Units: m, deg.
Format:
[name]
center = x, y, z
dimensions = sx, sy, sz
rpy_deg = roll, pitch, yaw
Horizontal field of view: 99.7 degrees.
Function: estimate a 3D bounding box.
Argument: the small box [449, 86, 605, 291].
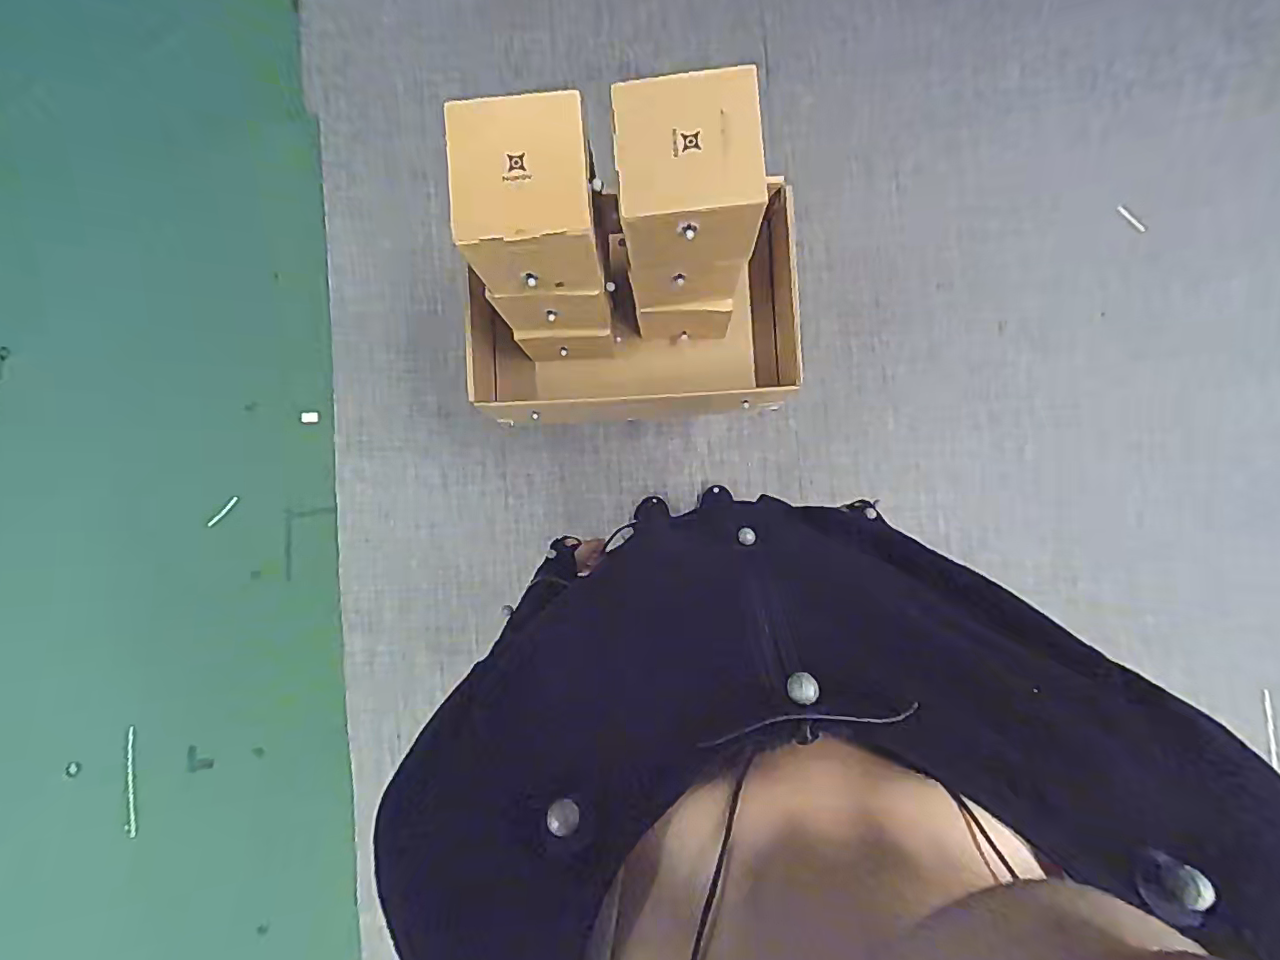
[small box]
center = -0.140, -0.373, 0.719
dimensions = 0.168, 0.176, 0.179
rpy_deg = -5, 88, 2
